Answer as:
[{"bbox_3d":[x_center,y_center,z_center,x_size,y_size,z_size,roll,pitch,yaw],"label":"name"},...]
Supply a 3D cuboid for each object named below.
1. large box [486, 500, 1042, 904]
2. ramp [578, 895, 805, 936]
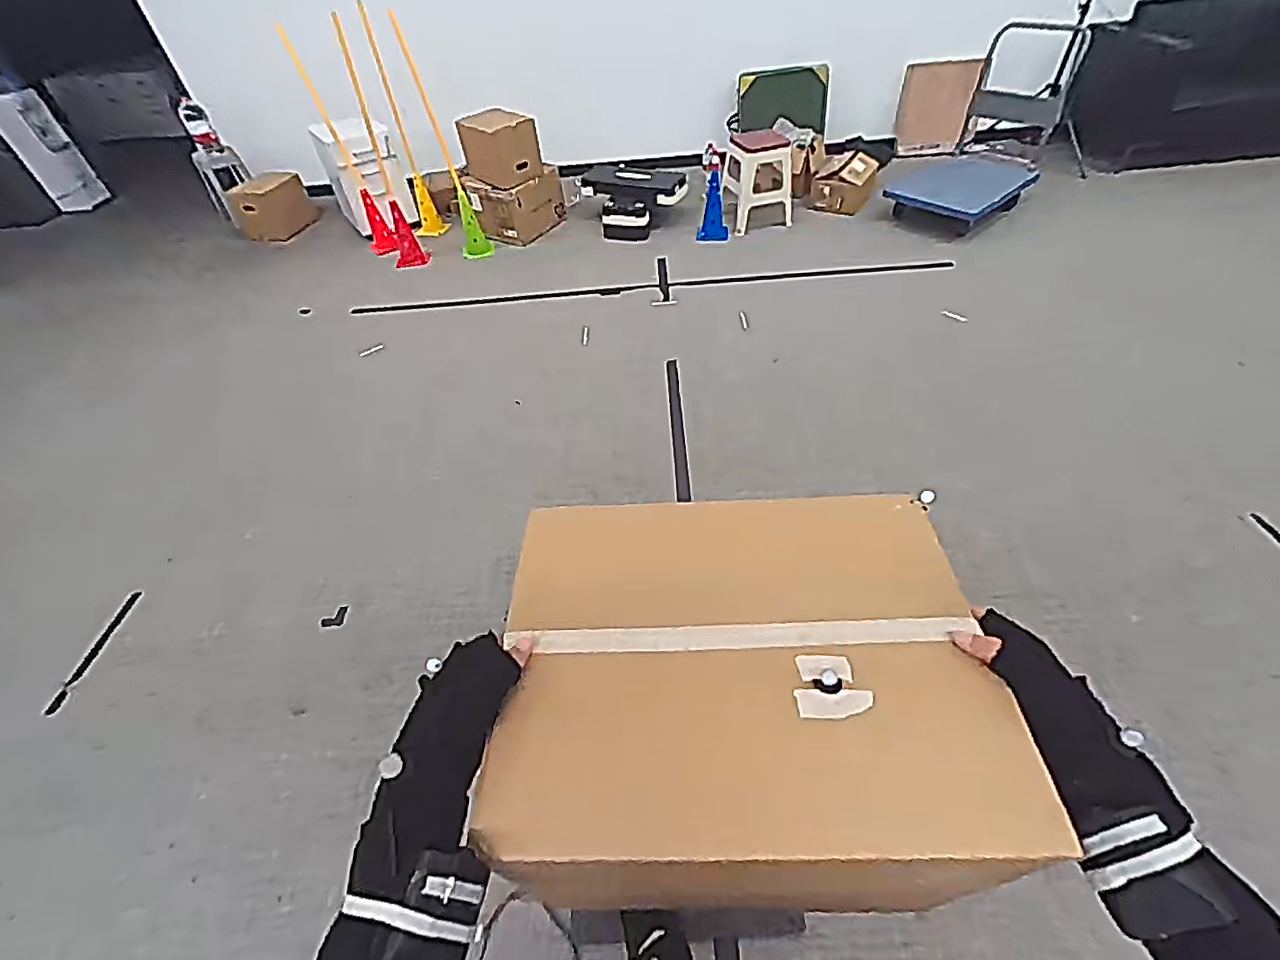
[{"bbox_3d":[0.091,0.245,0.590,0.408,0.320,0.320,-3,47,3],"label":"large box"},{"bbox_3d":[0.084,0.529,1.408,0.509,0.206,0.991,-5,47,-1],"label":"ramp"}]
